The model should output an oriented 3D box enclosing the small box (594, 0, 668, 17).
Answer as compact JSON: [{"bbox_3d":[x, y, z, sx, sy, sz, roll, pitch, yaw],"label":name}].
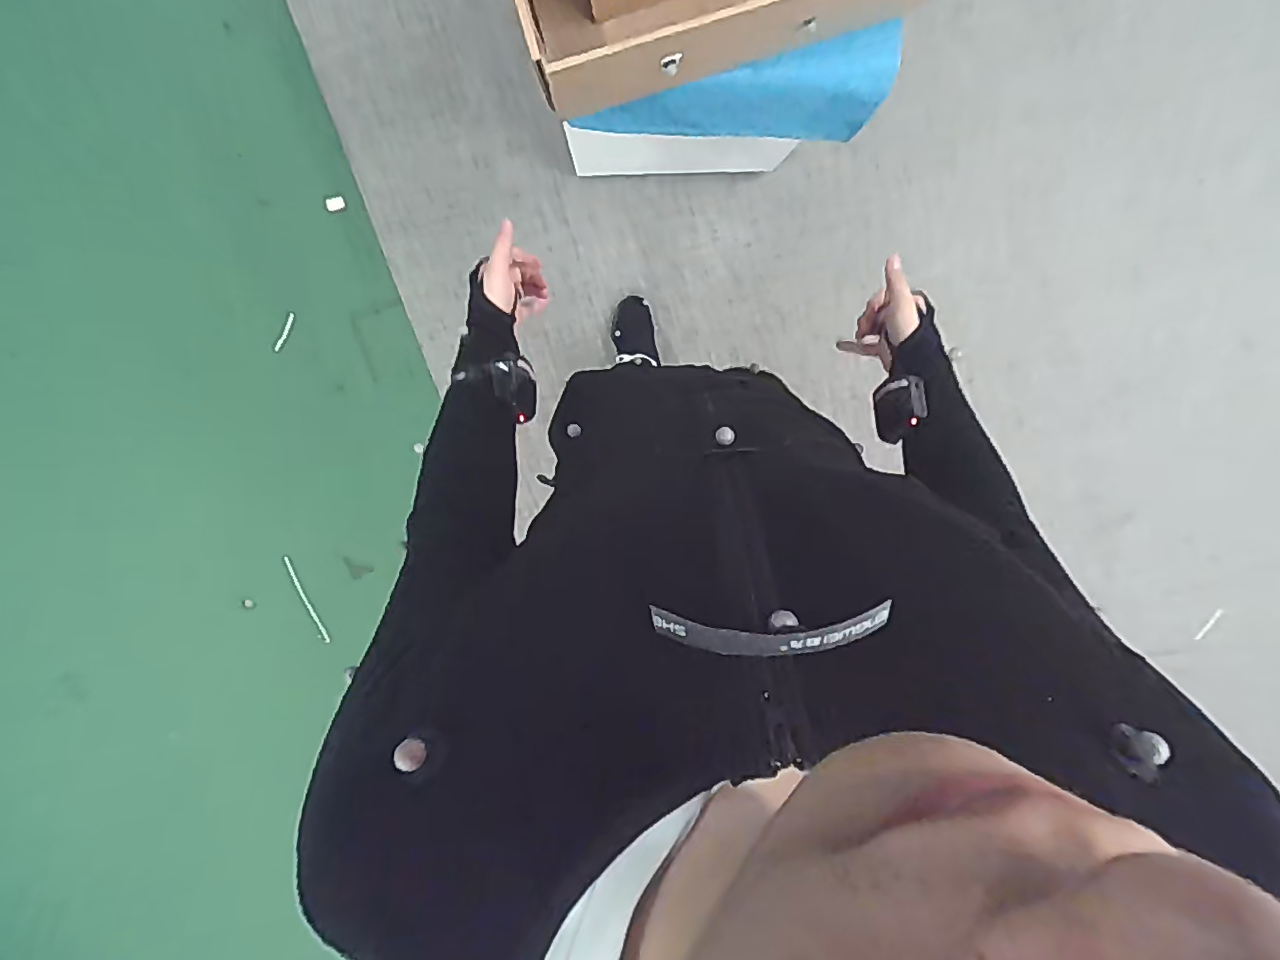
[{"bbox_3d":[0.003,-0.740,0.682,0.179,0.176,0.168,-17,104,2],"label":"small box"}]
